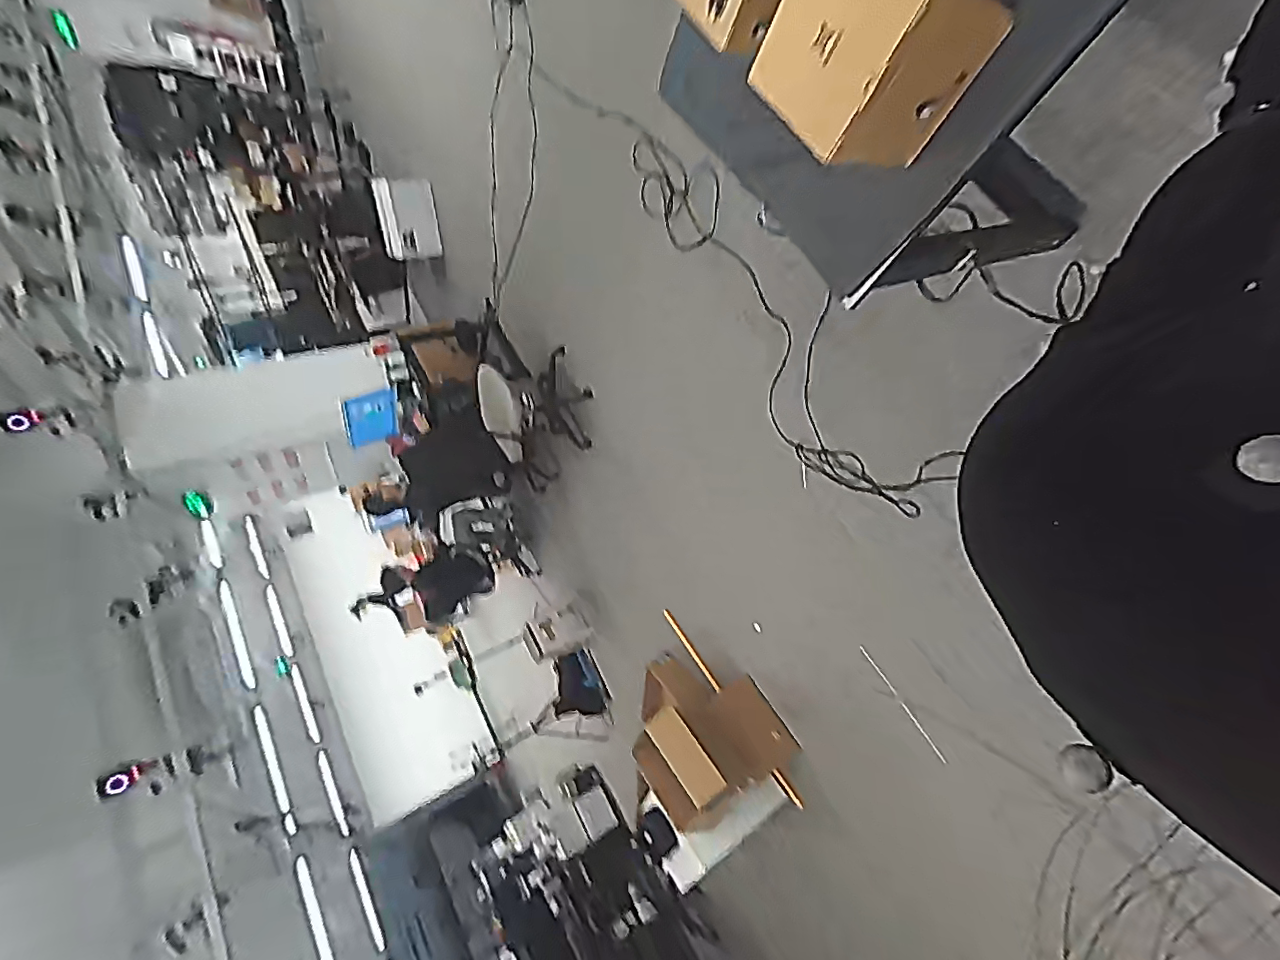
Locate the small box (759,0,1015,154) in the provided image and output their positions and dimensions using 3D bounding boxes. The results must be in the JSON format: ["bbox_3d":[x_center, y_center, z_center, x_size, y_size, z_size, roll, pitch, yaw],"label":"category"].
[{"bbox_3d":[0.283,-0.510,0.637,0.179,0.176,0.168,60,148,19],"label":"small box"}]
